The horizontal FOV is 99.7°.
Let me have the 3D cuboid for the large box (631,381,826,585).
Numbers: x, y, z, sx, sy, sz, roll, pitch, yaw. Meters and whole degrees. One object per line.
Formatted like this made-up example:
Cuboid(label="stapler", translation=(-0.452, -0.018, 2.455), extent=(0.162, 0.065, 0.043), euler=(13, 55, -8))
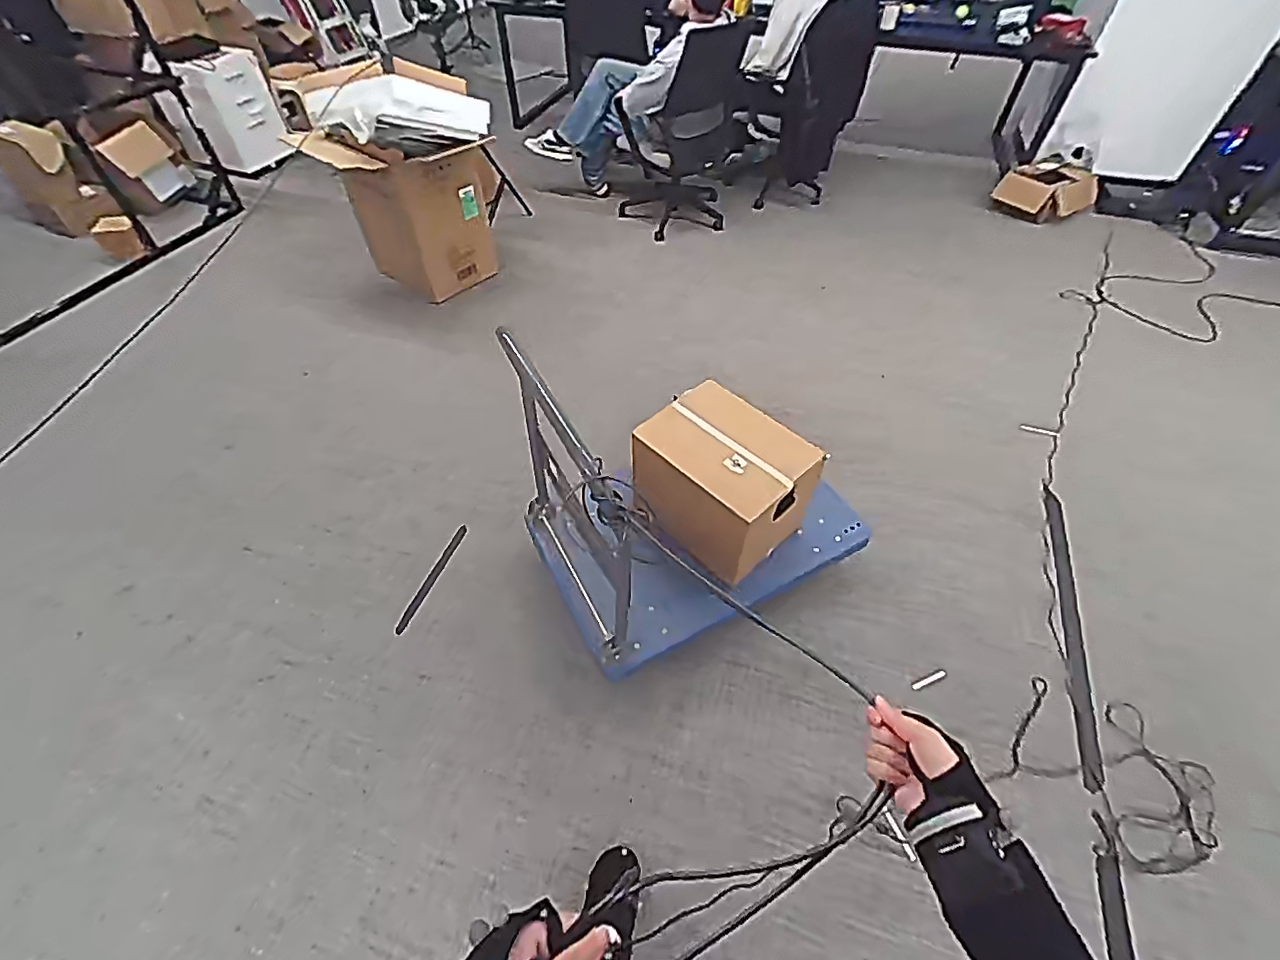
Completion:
Cuboid(label="large box", translation=(0.218, 0.003, 1.487), extent=(0.320, 0.320, 0.408), euler=(-37, 60, -25))
